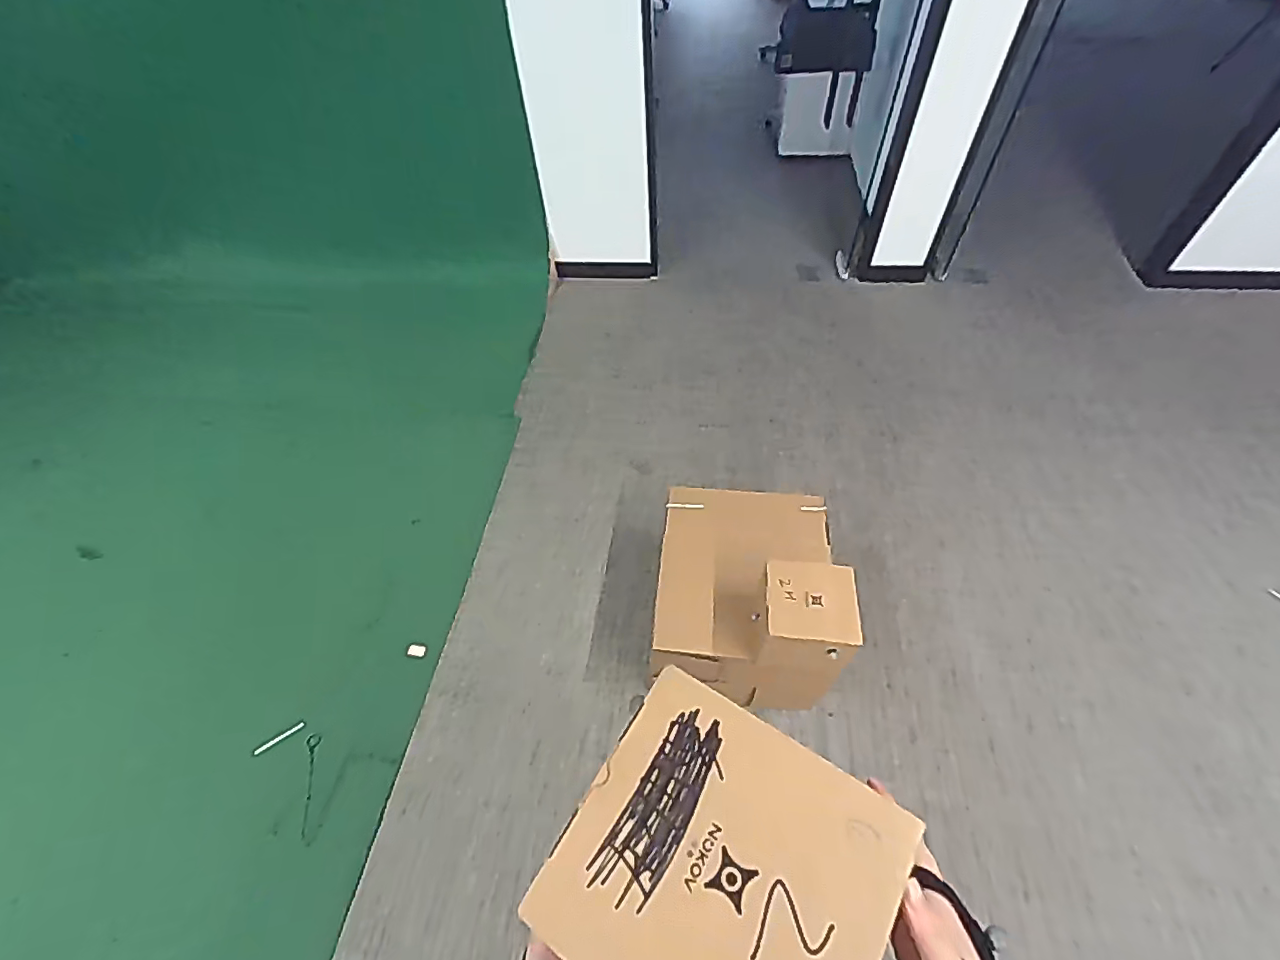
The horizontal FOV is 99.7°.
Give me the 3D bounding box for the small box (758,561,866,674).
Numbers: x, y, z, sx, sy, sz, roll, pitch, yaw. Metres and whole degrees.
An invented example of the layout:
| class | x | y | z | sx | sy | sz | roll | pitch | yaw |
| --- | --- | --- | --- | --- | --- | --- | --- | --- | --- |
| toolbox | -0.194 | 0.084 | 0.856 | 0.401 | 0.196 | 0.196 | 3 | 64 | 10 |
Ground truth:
| class | x | y | z | sx | sy | sz | roll | pitch | yaw |
| --- | --- | --- | --- | --- | --- | --- | --- | --- | --- |
| small box | 0.342 | 0.285 | 1.107 | 0.179 | 0.176 | 0.168 | 4 | 52 | 7 |
